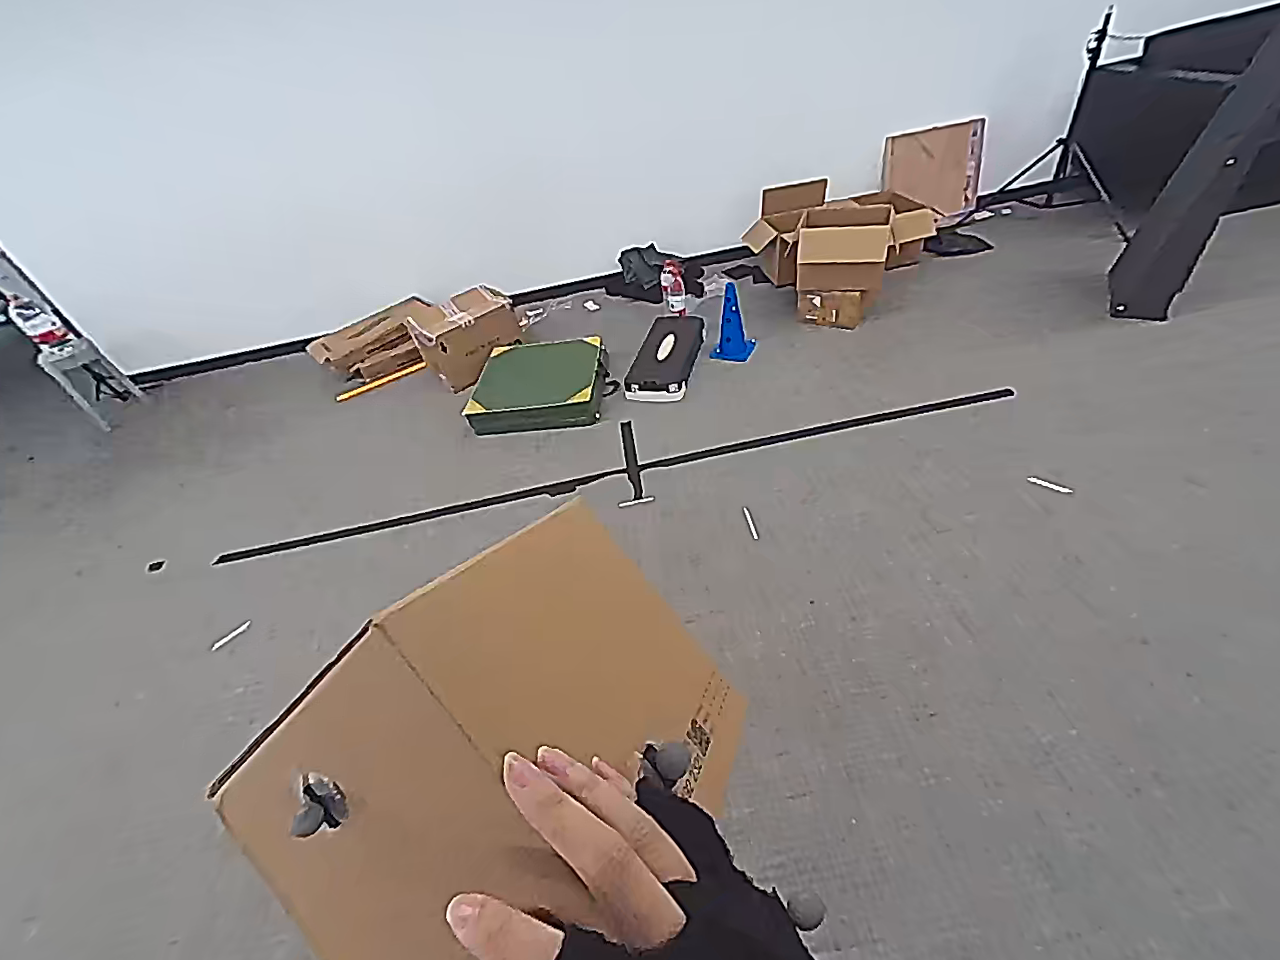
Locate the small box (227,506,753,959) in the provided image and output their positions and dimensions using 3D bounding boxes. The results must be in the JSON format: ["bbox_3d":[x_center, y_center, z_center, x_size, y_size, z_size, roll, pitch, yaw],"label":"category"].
[{"bbox_3d":[-0.067,0.148,0.299,0.179,0.176,0.168,-41,-2,25],"label":"small box"}]
